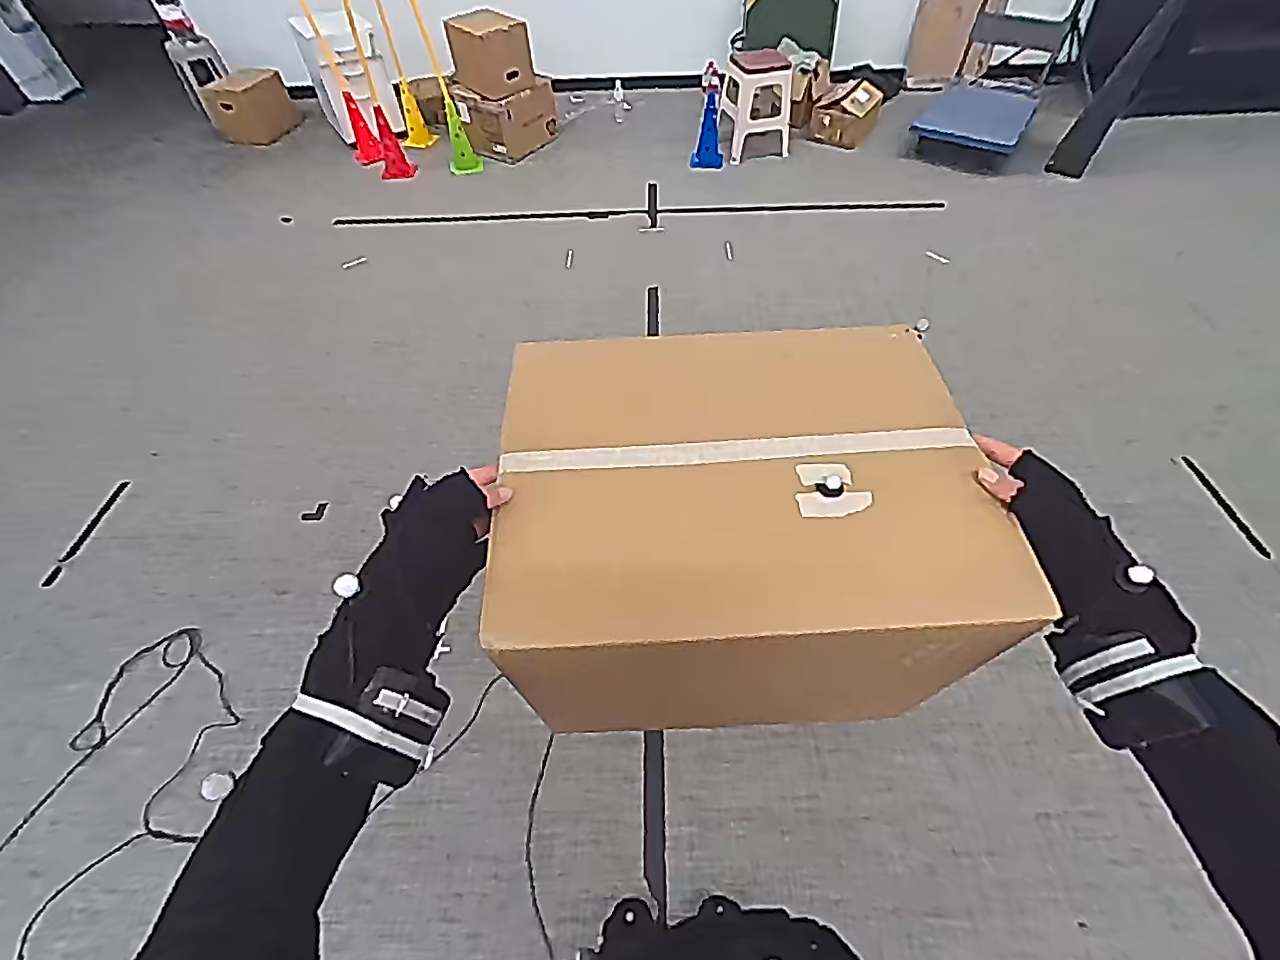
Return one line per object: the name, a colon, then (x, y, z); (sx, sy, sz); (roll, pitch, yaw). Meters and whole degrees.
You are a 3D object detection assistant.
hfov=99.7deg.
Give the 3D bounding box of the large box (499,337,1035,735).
large box: (0.086, 0.073, 0.597); (0.408, 0.320, 0.320); (-3, 55, -1)
